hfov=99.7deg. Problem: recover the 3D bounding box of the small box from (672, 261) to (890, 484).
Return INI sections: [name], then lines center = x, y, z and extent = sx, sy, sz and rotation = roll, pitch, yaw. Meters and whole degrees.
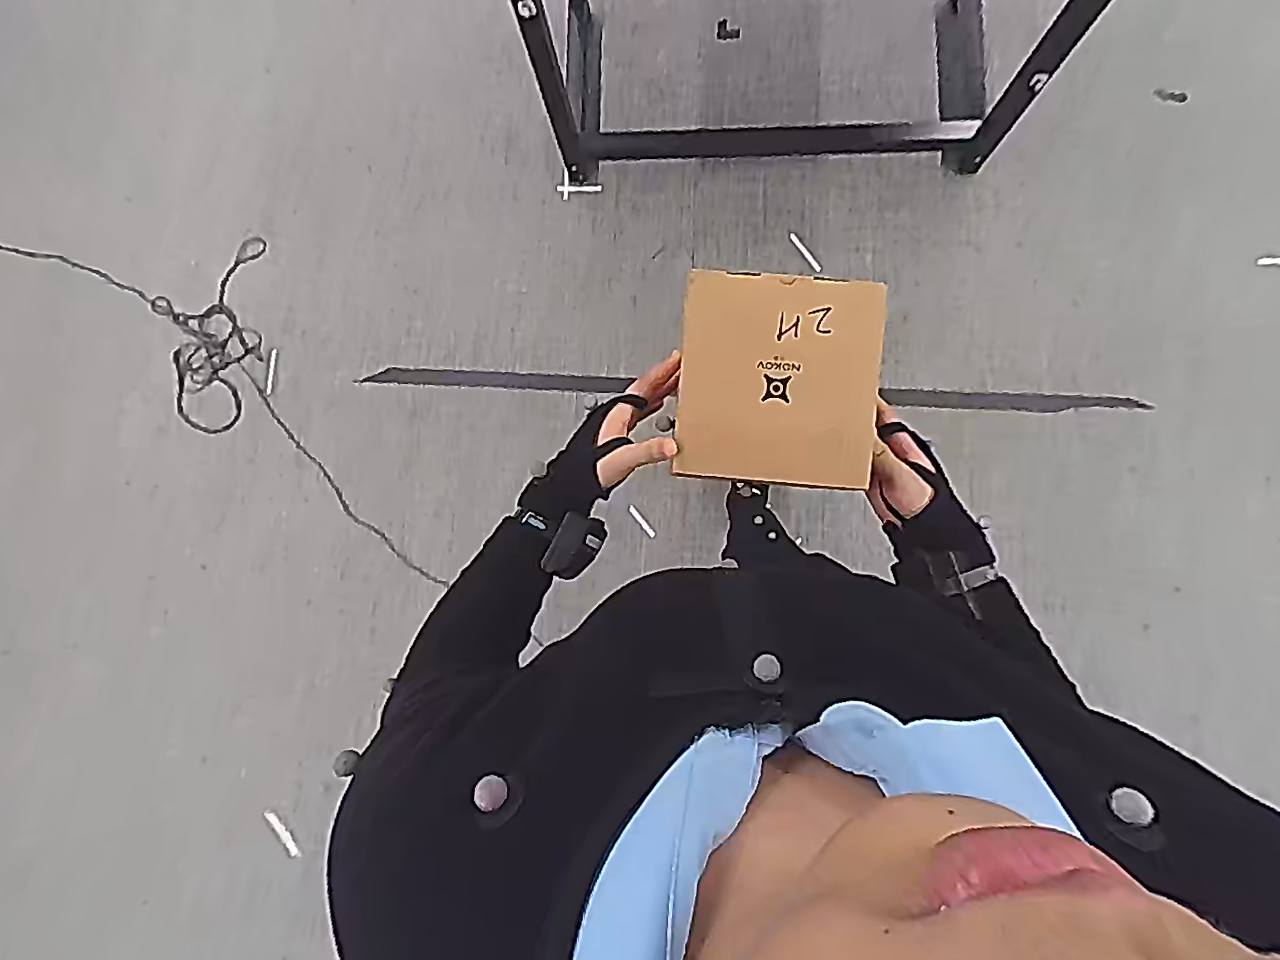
[small box]
center = 0.121, -0.091, 0.530
extent = 0.168, 0.176, 0.179
rotation = 5, 90, 2
